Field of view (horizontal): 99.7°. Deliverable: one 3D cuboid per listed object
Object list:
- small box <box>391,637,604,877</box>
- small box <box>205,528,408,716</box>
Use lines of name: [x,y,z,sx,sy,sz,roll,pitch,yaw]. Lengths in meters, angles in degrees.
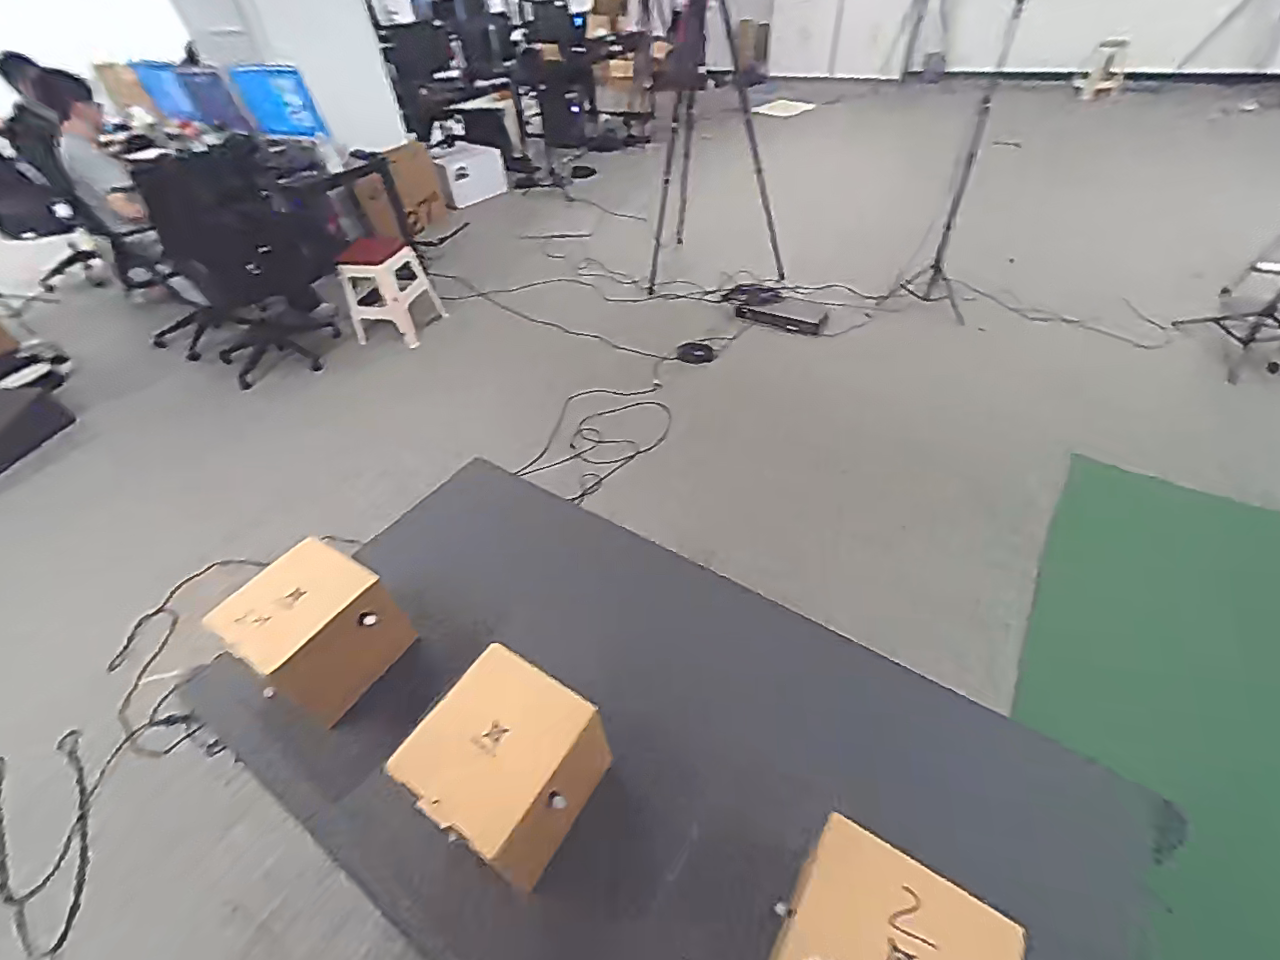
small box: [-0.156,0.335,0.659,0.168,0.176,0.179,23,51,25]
small box: [-0.476,0.210,0.808,0.168,0.176,0.179,22,51,25]
